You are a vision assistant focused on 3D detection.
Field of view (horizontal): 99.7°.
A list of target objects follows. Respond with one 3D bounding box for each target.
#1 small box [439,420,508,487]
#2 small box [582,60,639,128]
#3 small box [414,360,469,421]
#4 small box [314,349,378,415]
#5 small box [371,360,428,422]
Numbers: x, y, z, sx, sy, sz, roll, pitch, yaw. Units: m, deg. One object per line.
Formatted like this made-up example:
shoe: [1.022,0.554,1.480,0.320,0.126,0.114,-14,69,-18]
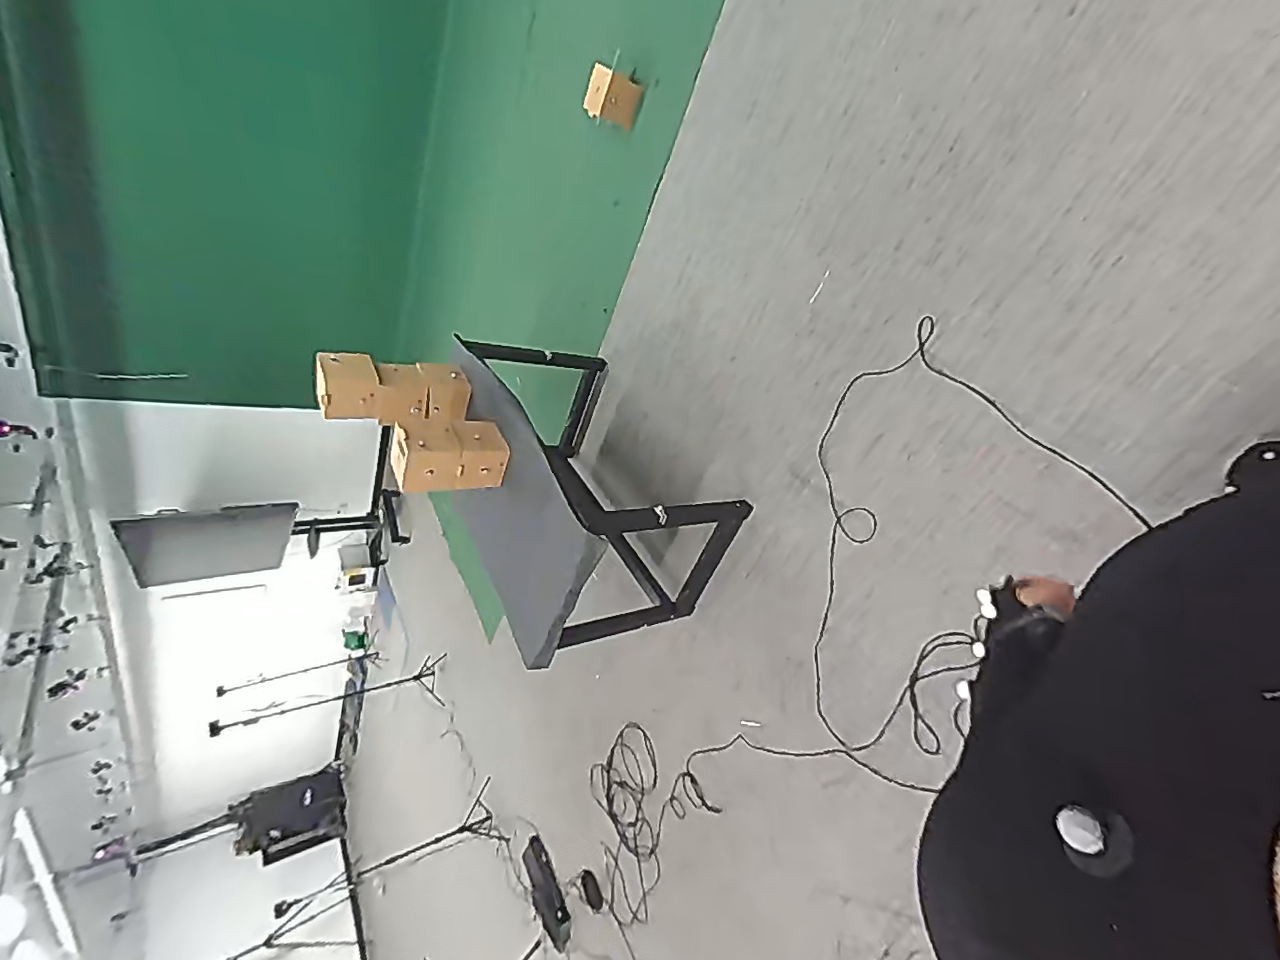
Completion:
small box: [-0.572,-0.096,1.865,0.179,0.176,0.168,51,130,35]
small box: [-0.124,-1.706,2.393,0.168,0.176,0.179,53,130,34]
small box: [-0.781,-0.344,2.106,0.168,0.176,0.179,54,132,33]
small box: [-1.033,-0.341,1.897,0.179,0.176,0.168,52,133,35]
small box: [-0.903,-0.327,2.001,0.179,0.176,0.168,46,129,37]
